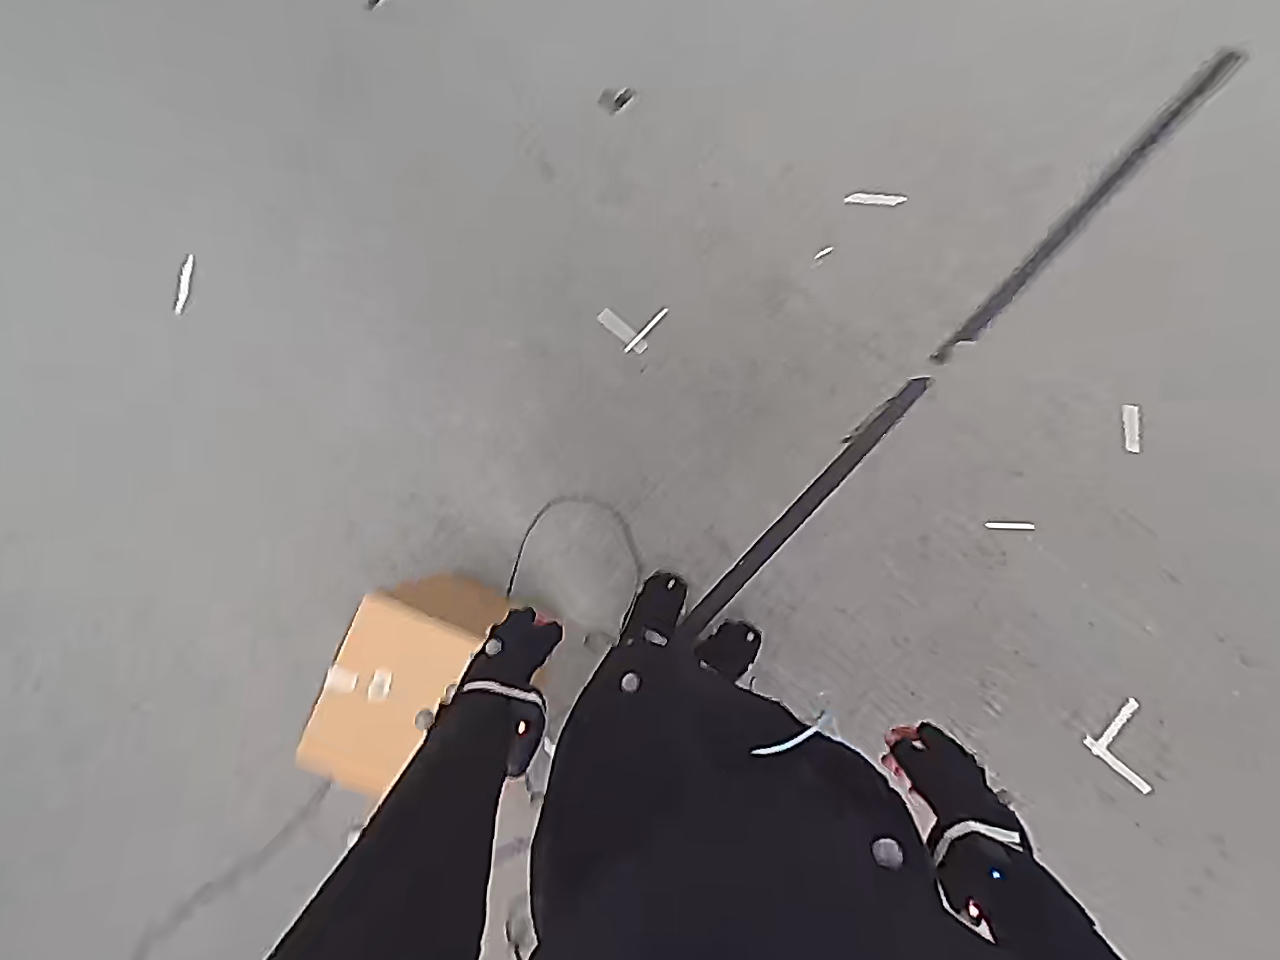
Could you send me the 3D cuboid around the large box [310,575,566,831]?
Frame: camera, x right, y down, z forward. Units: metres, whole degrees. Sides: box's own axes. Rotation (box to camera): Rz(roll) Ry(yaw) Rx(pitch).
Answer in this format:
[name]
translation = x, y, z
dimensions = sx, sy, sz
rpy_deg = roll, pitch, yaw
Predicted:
[large box]
translation = -0.379, 0.415, 1.125
dimensions = 0.320, 0.408, 0.320
rpy_deg = 23, 87, 2
